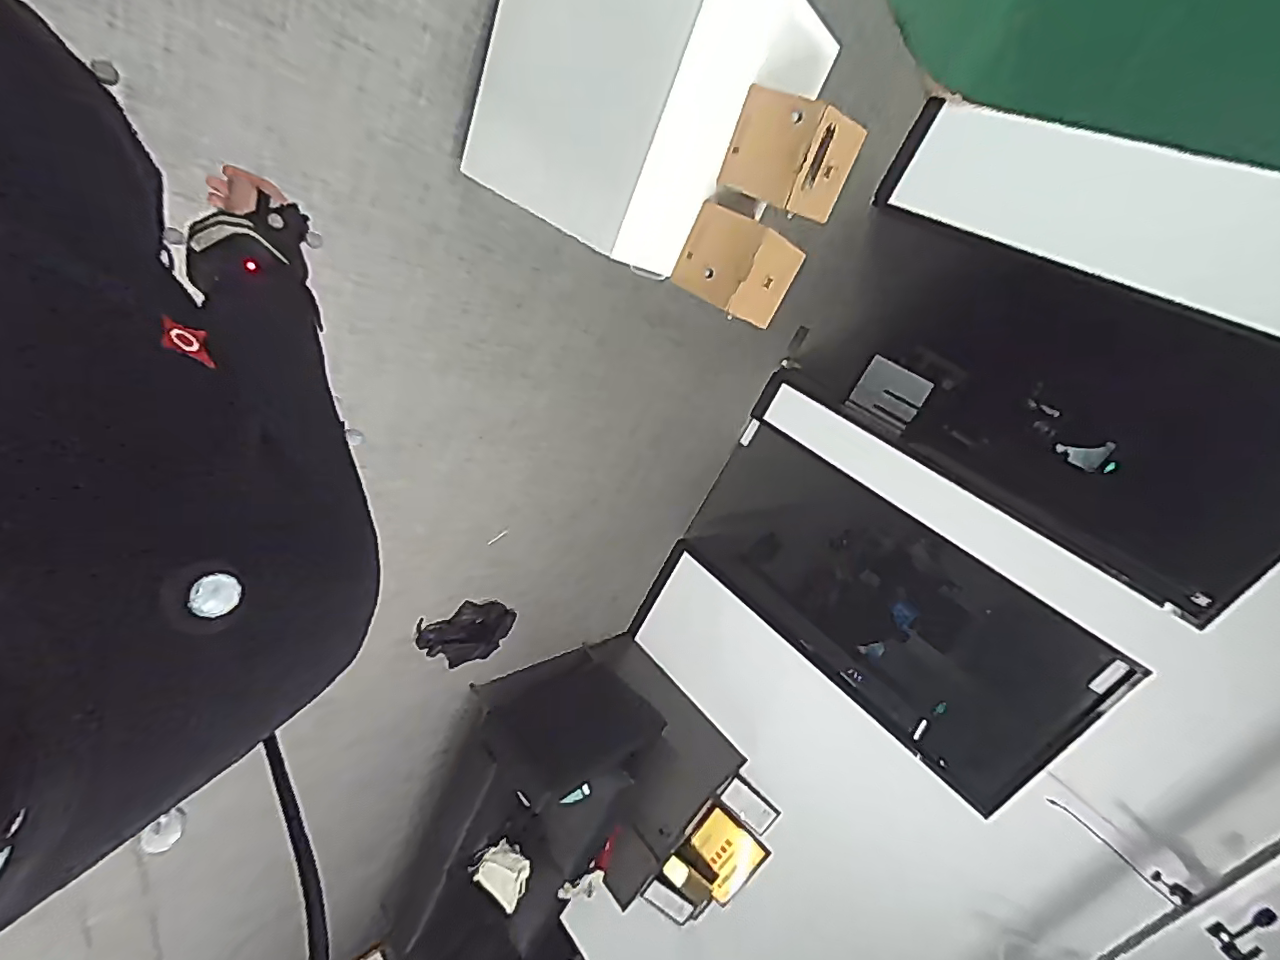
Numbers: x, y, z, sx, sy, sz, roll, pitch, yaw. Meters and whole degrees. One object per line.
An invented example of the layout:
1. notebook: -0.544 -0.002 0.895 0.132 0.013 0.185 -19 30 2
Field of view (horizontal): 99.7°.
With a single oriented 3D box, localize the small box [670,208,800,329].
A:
1. small box: 0.192 -0.438 1.119 0.179 0.176 0.168 -4 128 -53
